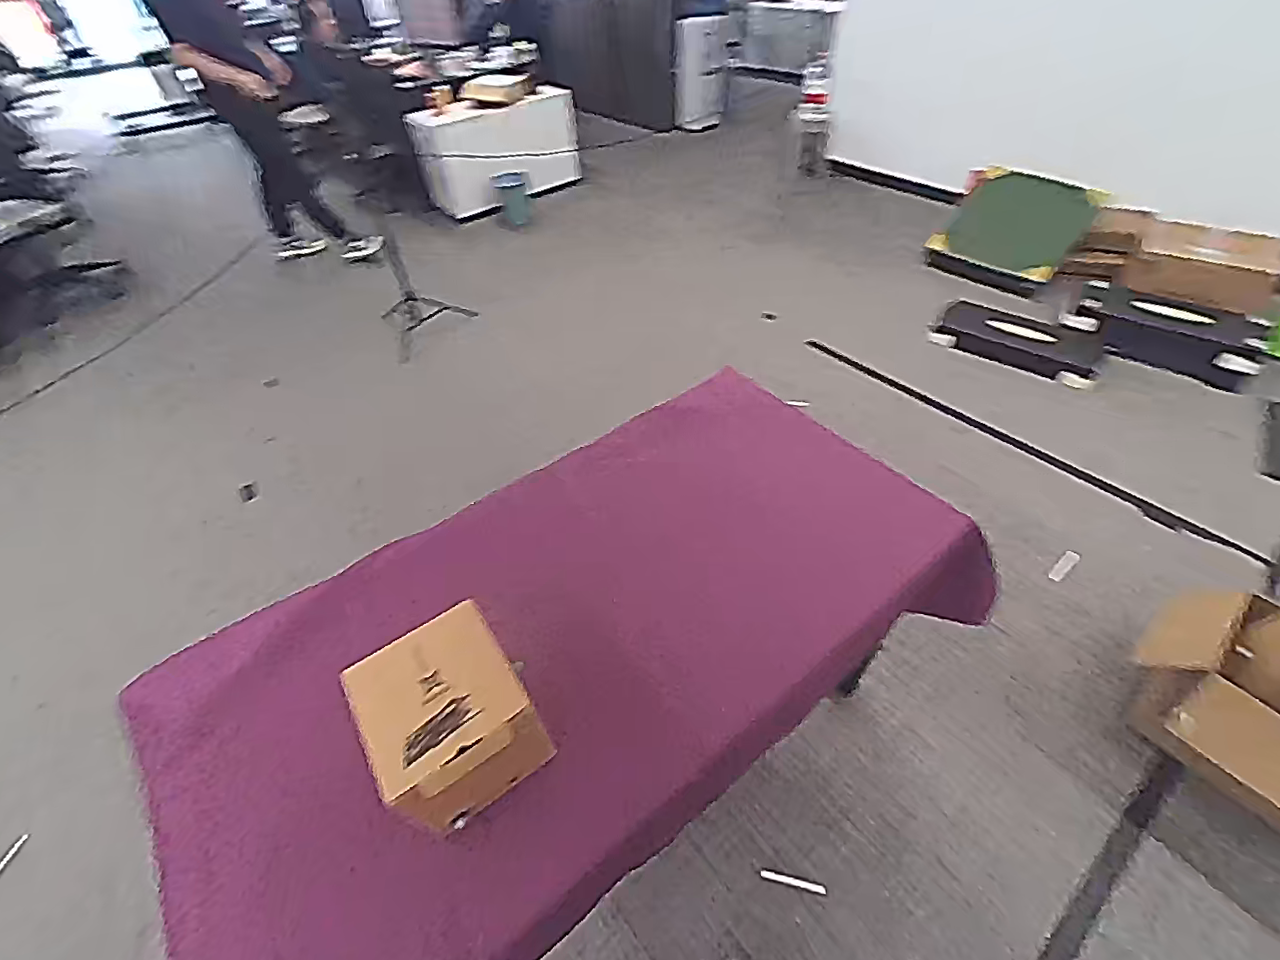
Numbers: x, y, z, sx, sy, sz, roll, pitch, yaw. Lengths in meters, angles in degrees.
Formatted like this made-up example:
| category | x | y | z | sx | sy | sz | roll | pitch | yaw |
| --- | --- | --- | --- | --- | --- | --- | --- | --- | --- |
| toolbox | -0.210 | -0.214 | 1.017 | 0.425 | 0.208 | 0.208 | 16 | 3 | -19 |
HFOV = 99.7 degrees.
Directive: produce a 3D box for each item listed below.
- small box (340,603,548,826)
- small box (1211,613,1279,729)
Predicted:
| category | x | y | z | sx | sy | sz | roll | pitch | yaw |
| --- | --- | --- | --- | --- | --- | --- | --- | --- | --- |
| small box | -0.233 | 0.296 | 0.673 | 0.168 | 0.176 | 0.179 | -30 | 51 | -22 |
| small box | 1.408 | 0.428 | 1.182 | 0.179 | 0.176 | 0.168 | 22 | 56 | 19 |
